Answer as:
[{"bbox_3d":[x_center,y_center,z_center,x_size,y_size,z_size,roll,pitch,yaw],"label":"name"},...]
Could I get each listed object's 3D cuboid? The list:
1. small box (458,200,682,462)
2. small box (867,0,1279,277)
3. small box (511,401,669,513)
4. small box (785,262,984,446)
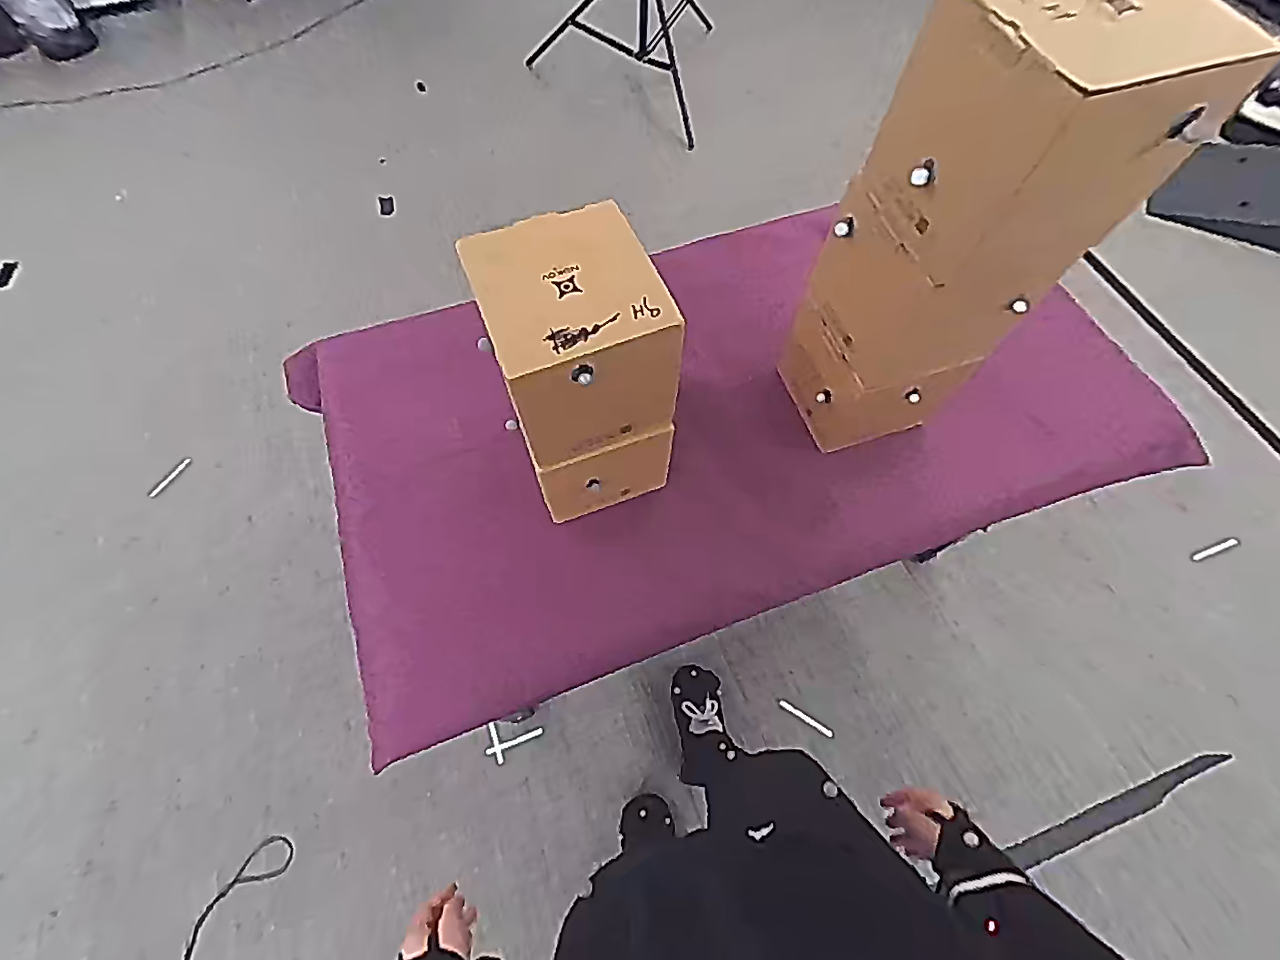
[{"bbox_3d":[-0.069,-0.148,0.567,0.168,0.176,0.179,-21,66,-9],"label":"small box"},{"bbox_3d":[0.334,-0.307,0.462,0.179,0.176,0.168,-17,66,-8],"label":"small box"},{"bbox_3d":[-0.069,-0.072,0.713,0.168,0.176,0.179,-19,66,-9],"label":"small box"},{"bbox_3d":[0.321,-0.168,0.761,0.179,0.176,0.168,-16,67,-9],"label":"small box"}]
